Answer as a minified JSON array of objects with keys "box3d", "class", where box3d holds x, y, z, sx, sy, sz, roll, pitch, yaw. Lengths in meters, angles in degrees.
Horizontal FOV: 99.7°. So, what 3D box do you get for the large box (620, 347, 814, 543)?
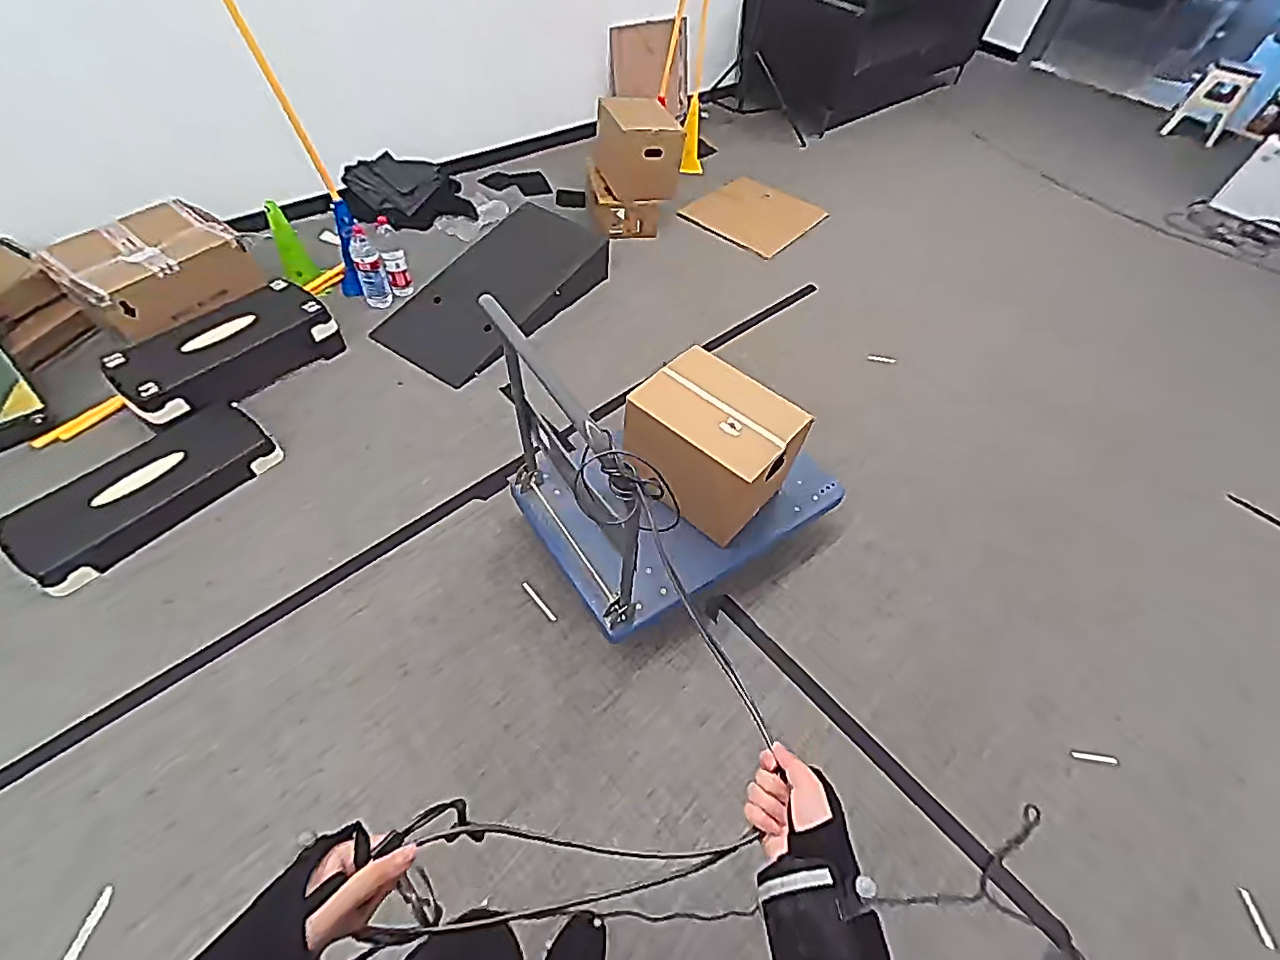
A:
[{"box3d":[0.198,-0.101,1.531,0.408,0.320,0.320,37,59,19],"class":"large box"}]
